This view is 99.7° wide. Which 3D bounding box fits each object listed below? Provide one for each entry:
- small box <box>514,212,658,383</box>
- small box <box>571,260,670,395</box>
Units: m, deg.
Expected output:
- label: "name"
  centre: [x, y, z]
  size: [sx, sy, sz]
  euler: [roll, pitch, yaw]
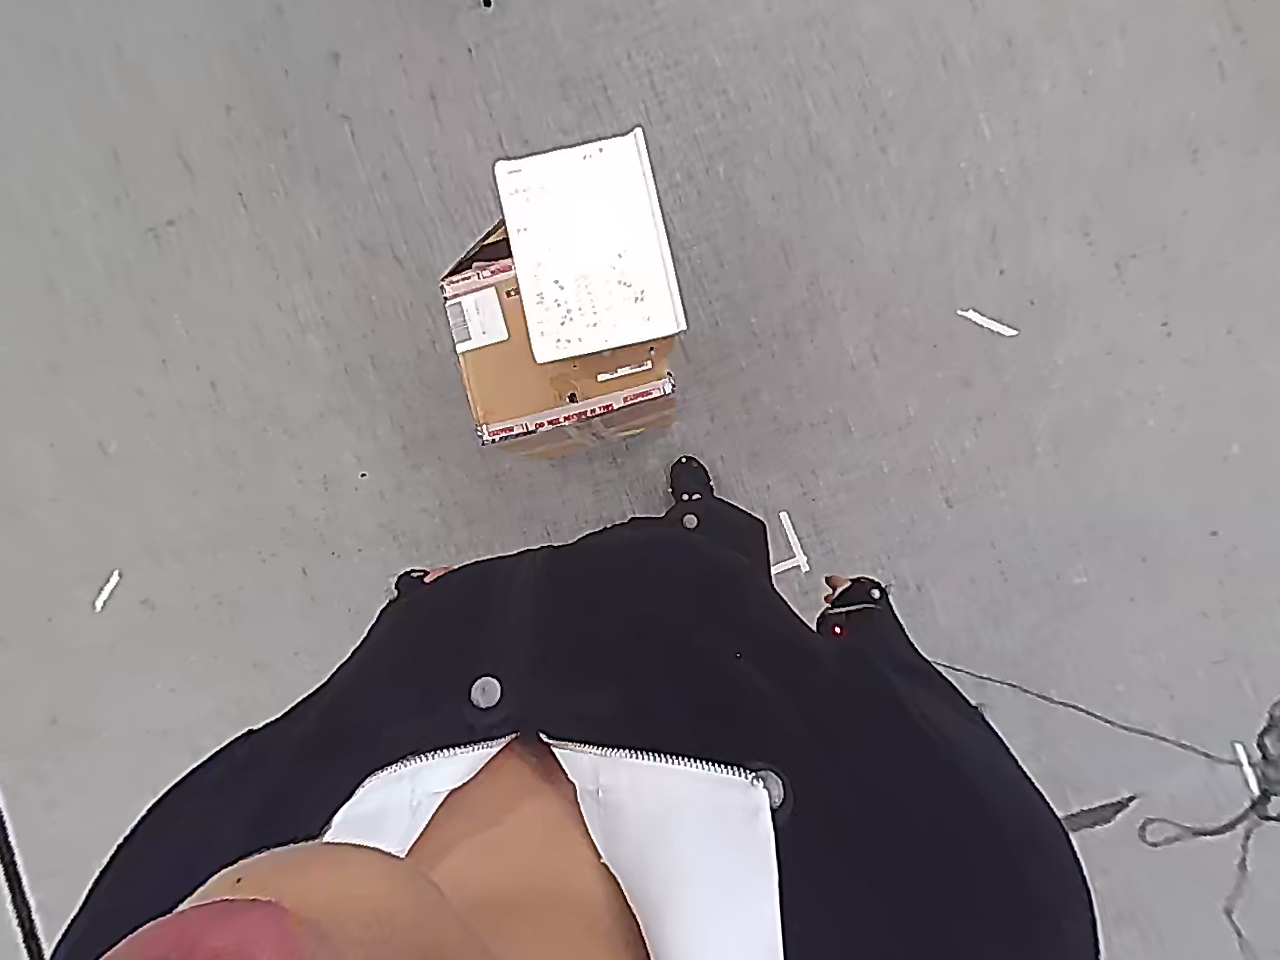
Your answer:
- label: "small box"
  centre: [-0.074, -0.257, 0.798]
  size: [0.168, 0.176, 0.179]
  euler: [-12, 90, 0]
- label: "small box"
  centre: [-0.054, -0.262, 0.962]
  size: [0.179, 0.176, 0.168]
  euler: [-16, 89, 1]
